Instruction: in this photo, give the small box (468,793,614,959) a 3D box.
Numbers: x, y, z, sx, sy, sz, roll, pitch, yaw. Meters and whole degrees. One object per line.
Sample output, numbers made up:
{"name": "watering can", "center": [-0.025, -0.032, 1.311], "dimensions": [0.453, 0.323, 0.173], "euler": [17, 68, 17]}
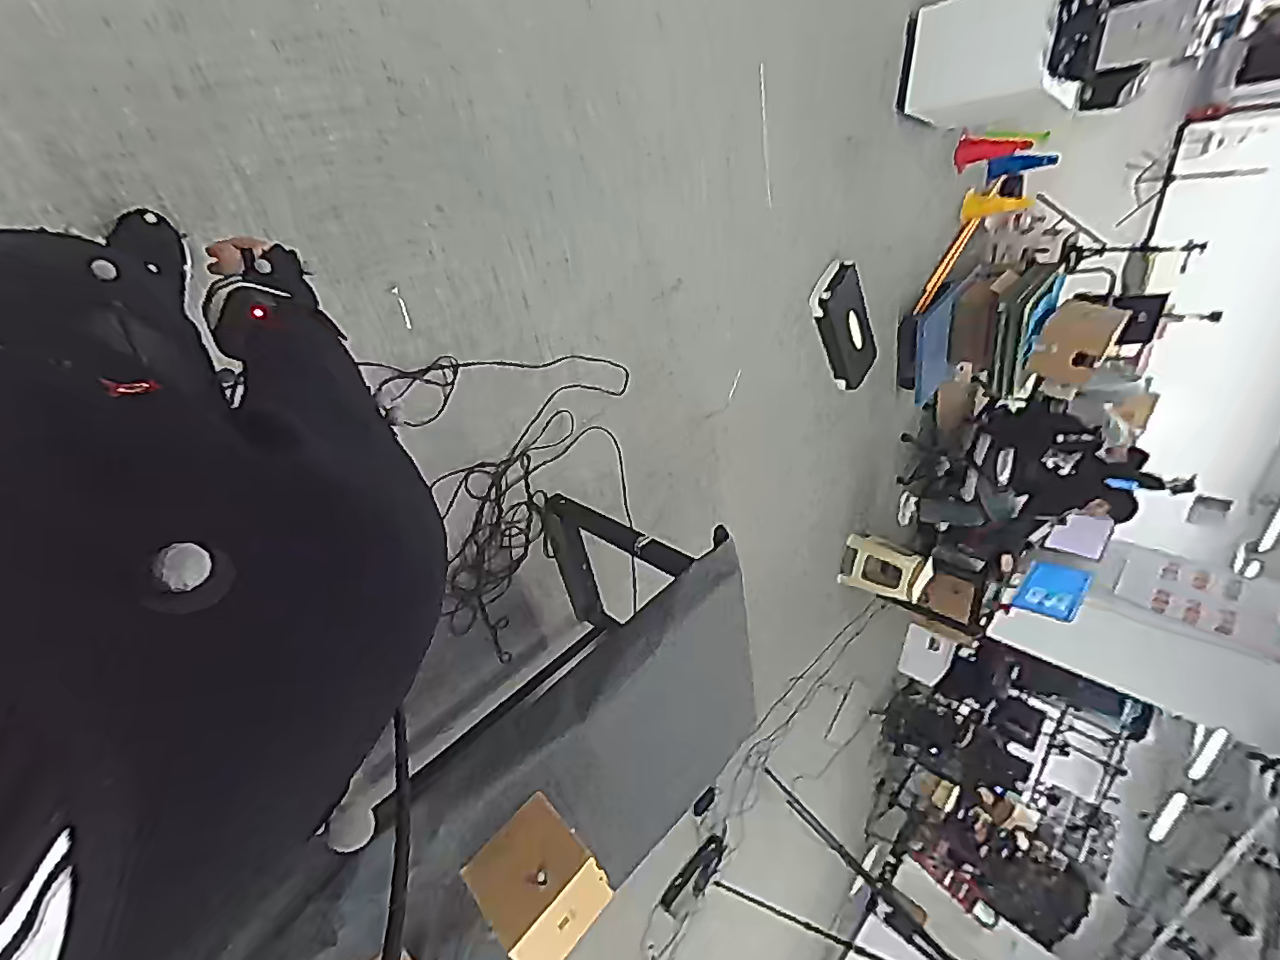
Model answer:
{"name": "small box", "center": [-0.179, 0.710, 0.956], "dimensions": [0.179, 0.176, 0.168], "euler": [-37, 130, -31]}
